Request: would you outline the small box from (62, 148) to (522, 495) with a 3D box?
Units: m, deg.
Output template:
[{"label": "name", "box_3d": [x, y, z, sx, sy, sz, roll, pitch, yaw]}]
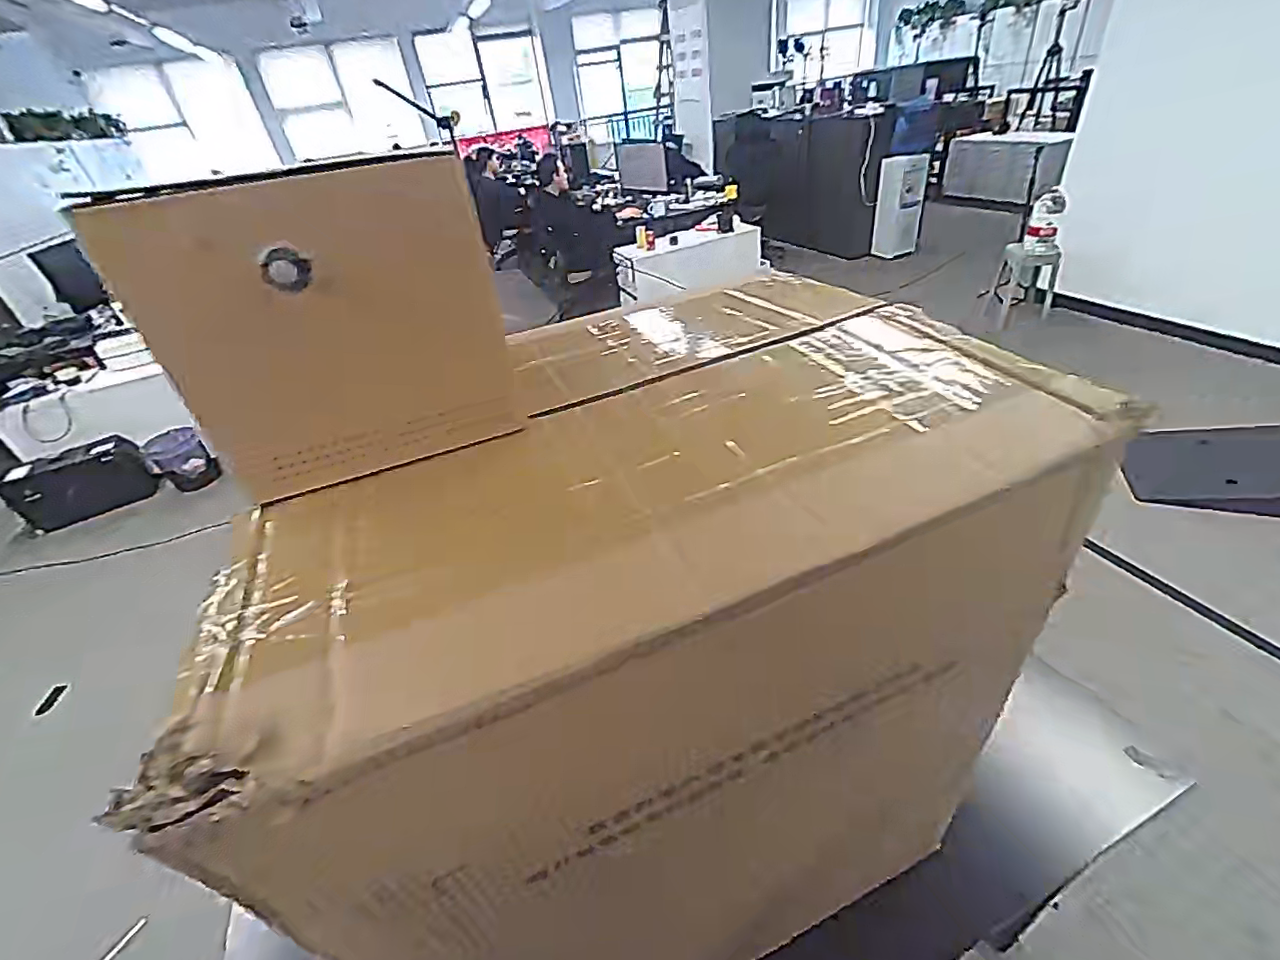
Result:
[{"label": "small box", "box_3d": [-0.197, -0.112, 0.367, 0.179, 0.176, 0.168, -18, 35, -15]}]
